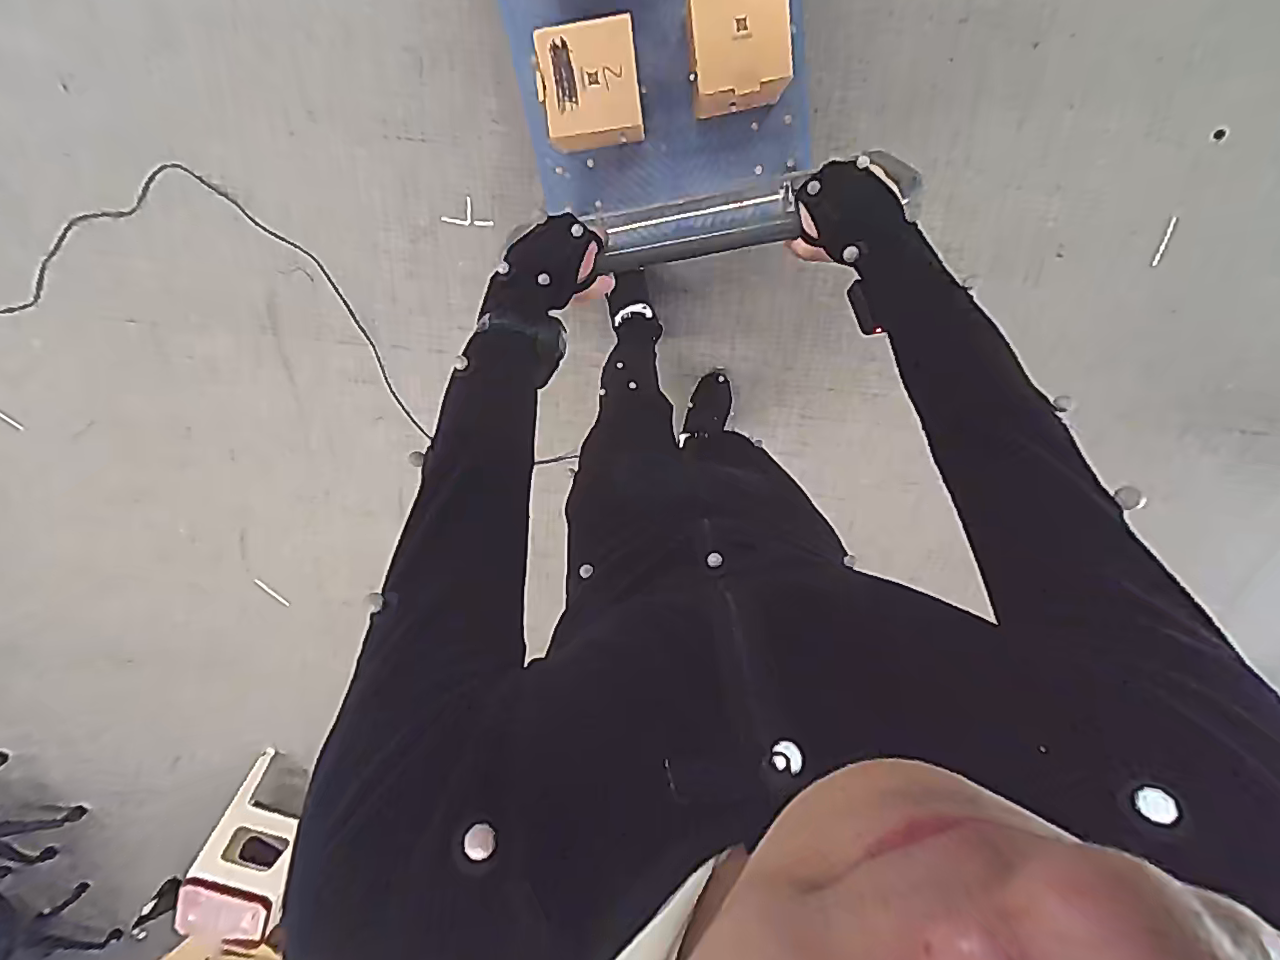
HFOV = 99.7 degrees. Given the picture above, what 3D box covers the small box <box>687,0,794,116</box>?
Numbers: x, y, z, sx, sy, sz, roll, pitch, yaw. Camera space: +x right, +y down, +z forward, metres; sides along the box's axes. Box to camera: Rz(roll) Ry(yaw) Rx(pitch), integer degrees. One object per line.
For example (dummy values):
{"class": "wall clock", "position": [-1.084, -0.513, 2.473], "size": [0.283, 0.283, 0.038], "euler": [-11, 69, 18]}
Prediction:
{"class": "small box", "position": [0.182, -0.811, 1.006], "size": [0.168, 0.176, 0.179], "euler": [-9, 113, 6]}
